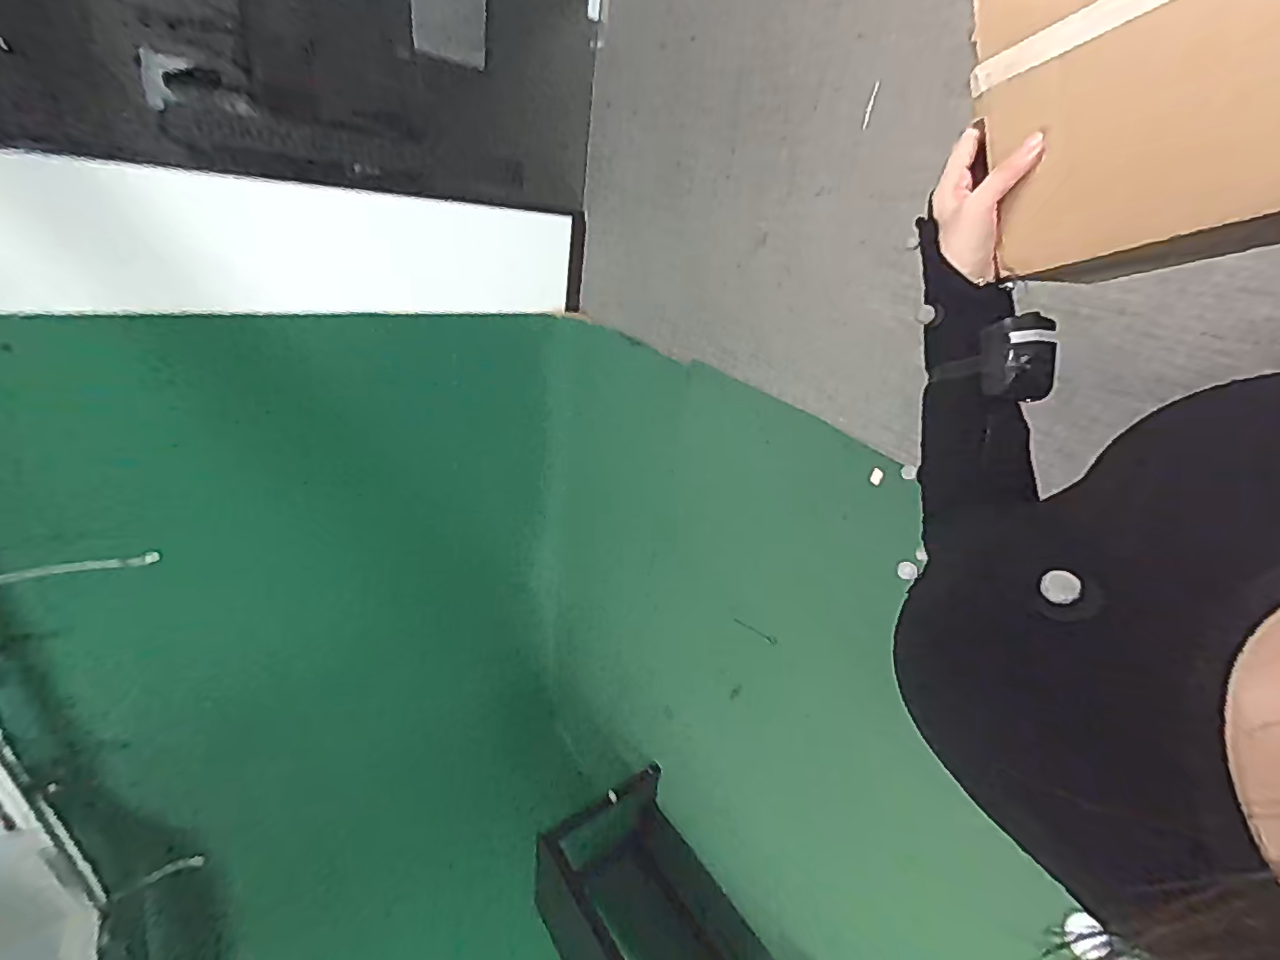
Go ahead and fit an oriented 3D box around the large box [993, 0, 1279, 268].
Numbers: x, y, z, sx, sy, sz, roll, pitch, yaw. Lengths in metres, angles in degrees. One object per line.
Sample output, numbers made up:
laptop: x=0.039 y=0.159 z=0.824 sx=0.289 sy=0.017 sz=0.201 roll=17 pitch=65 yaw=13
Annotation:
large box: x=0.516 y=-0.366 z=0.367 sx=0.408 sy=0.320 sz=0.320 roll=-1 pitch=103 yaw=49
